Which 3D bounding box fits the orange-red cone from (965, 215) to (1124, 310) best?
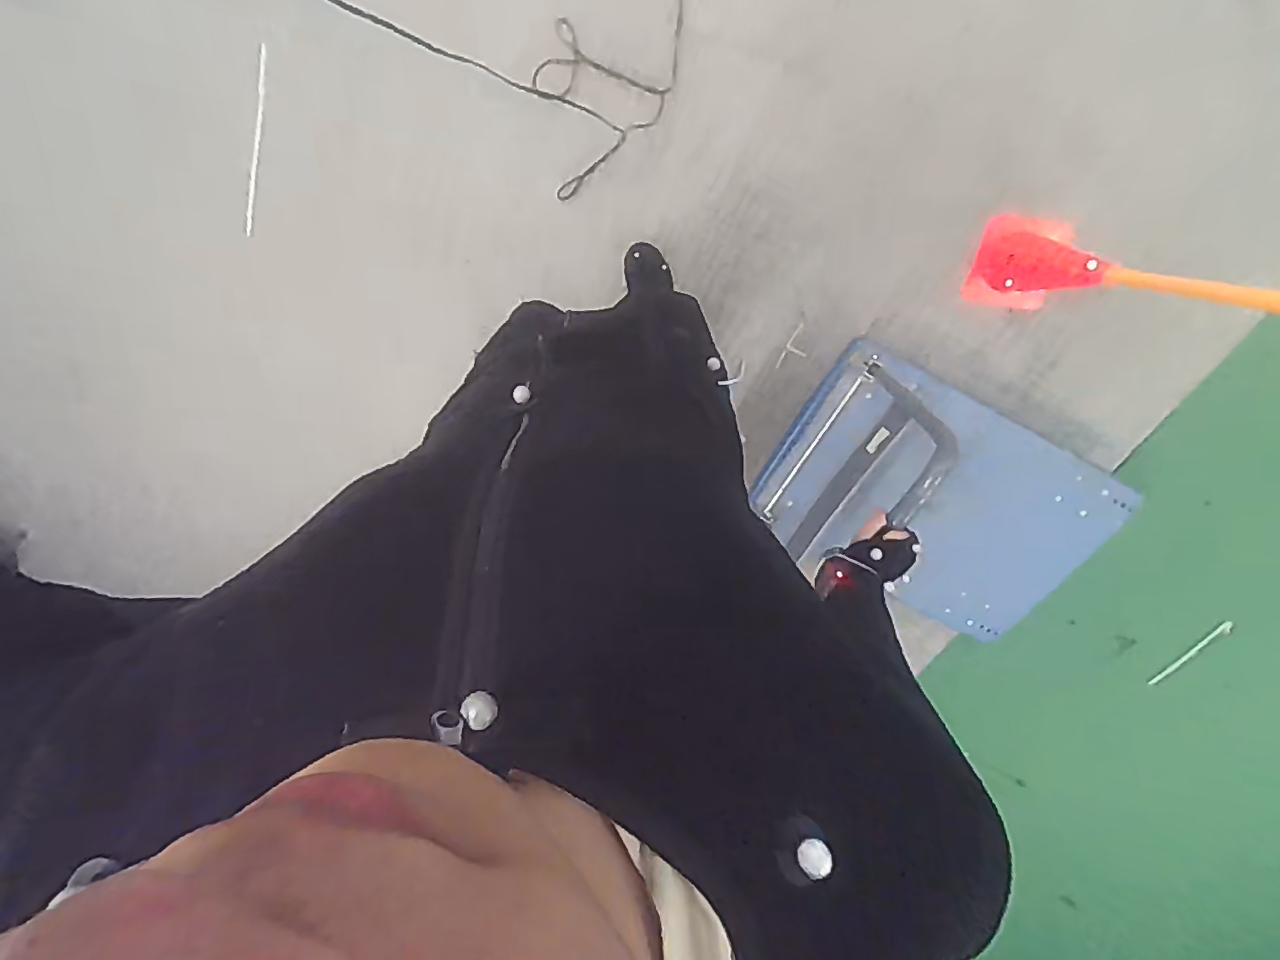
[{"bbox_3d":[0.911,-0.464,1.179,0.198,0.360,0.199,12,115,1],"label":"orange-red cone"}]
